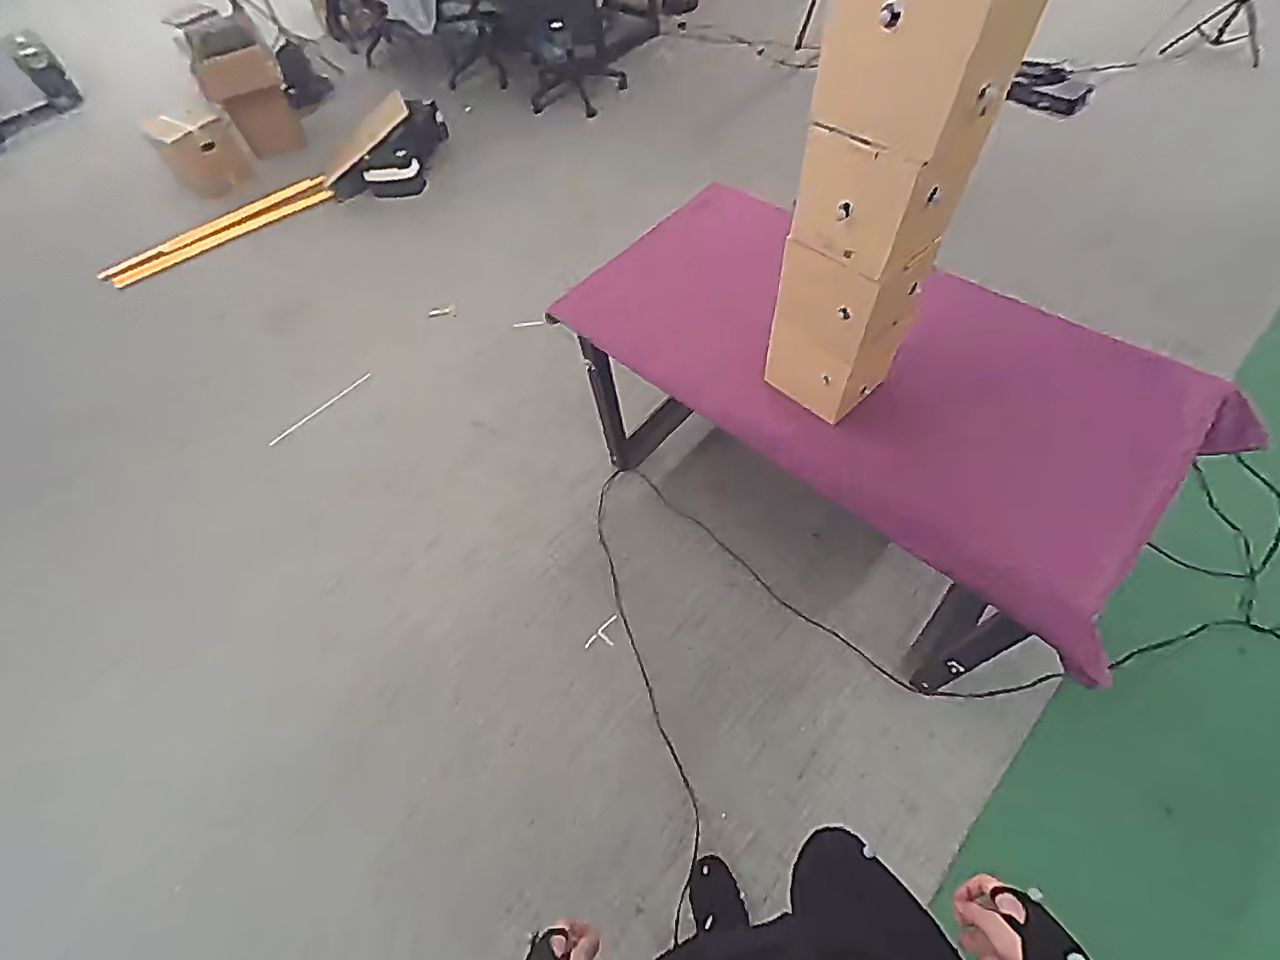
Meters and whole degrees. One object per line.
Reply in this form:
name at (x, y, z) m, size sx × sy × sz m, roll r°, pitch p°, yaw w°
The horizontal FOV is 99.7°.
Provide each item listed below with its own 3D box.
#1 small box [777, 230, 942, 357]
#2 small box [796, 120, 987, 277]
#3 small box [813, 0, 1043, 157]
small box at (0.352, -0.333, 0.903) m, size 0.168 × 0.176 × 0.179 m, roll -39°, pitch 62°, yaw -17°
small box at (0.341, -0.423, 0.767) m, size 0.179 × 0.176 × 0.168 m, roll -40°, pitch 63°, yaw -17°
small box at (0.328, -0.511, 0.629) m, size 0.168 × 0.176 × 0.179 m, roll -41°, pitch 64°, yaw -19°
